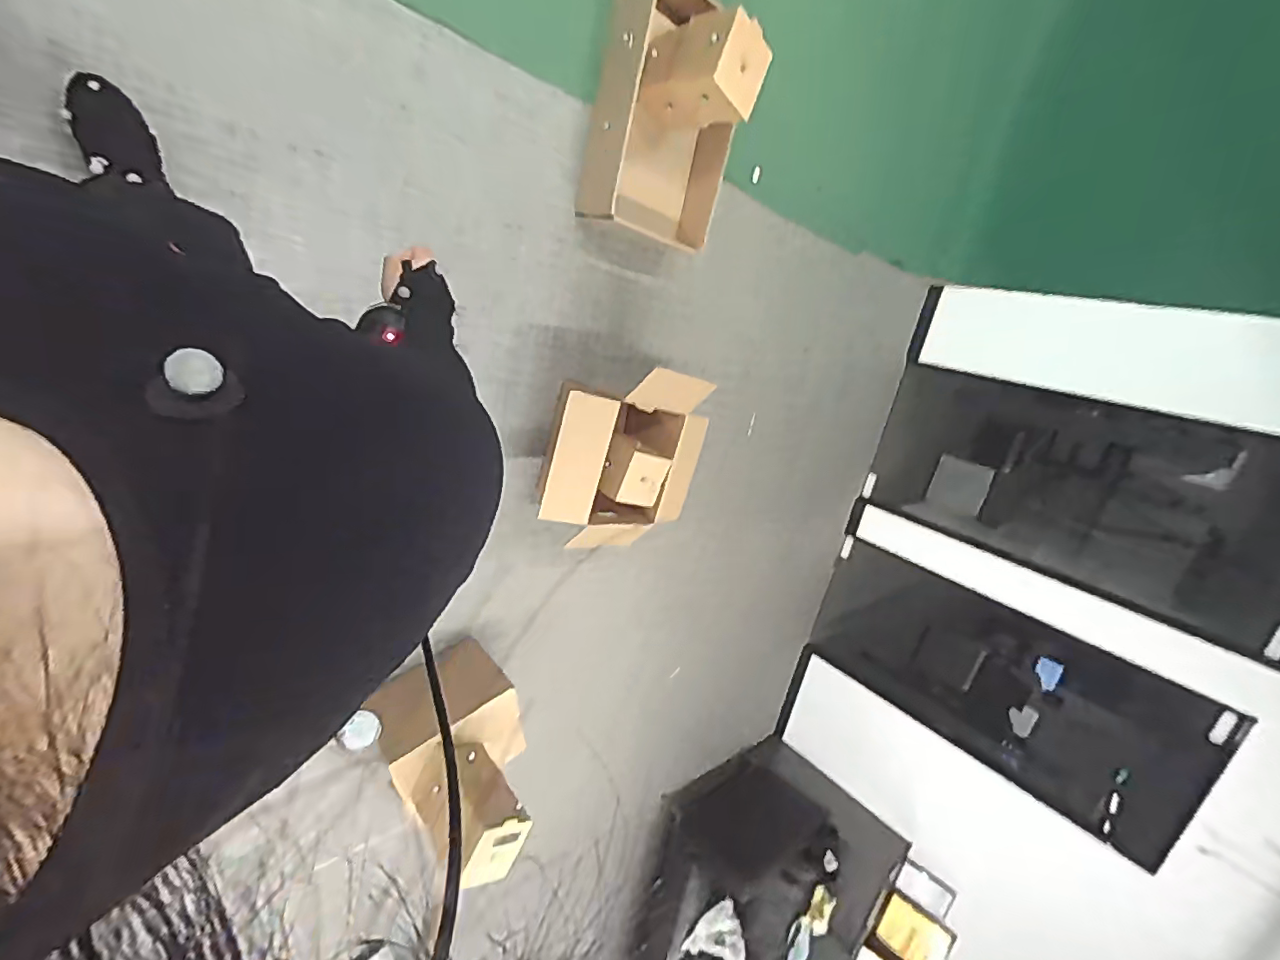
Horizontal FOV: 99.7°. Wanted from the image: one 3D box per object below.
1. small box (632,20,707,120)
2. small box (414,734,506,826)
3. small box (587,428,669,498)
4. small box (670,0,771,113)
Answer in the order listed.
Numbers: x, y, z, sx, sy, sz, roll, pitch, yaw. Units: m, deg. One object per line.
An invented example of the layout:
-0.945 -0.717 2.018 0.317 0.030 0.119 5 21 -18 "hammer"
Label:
0.112 -1.153 1.525 0.179 0.176 0.168 19 98 -49 "small box"
-0.537 0.874 1.600 0.168 0.176 0.179 27 89 -48 "small box"
-0.044 -0.058 1.761 0.179 0.176 0.168 10 107 -46 "small box"
0.202 -1.089 1.405 0.168 0.176 0.179 11 104 -48 "small box"
